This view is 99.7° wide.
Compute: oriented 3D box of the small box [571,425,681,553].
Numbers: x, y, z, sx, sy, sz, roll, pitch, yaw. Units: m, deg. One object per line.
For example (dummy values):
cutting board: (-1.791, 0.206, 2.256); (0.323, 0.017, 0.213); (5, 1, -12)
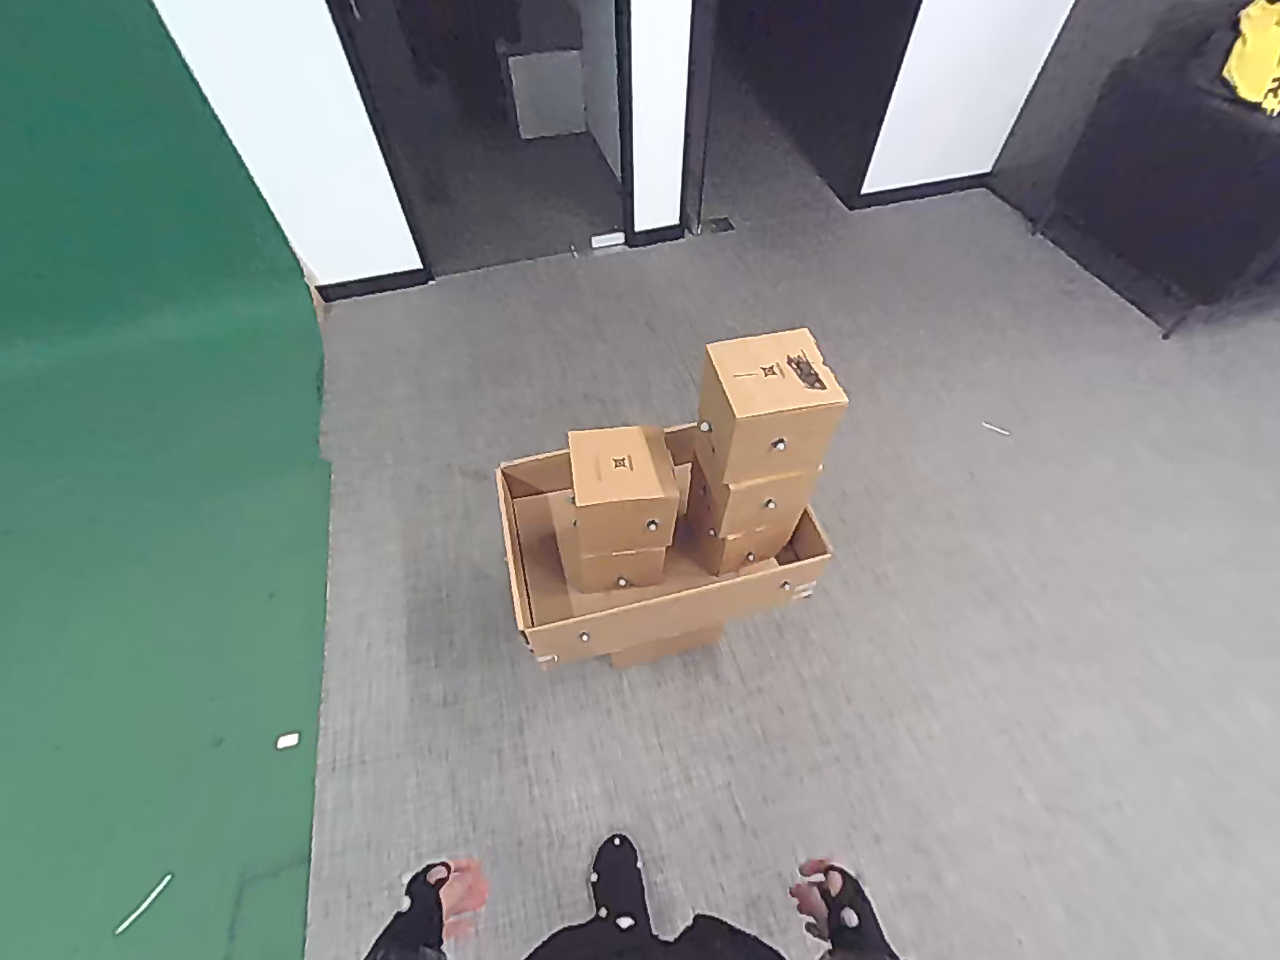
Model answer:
small box: (-0.032, 0.019, 0.993); (0.179, 0.176, 0.168); (-6, 53, -7)

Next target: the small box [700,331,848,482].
small box: (0.206, -0.117, 0.888); (0.179, 0.176, 0.168); (-10, 55, -6)
